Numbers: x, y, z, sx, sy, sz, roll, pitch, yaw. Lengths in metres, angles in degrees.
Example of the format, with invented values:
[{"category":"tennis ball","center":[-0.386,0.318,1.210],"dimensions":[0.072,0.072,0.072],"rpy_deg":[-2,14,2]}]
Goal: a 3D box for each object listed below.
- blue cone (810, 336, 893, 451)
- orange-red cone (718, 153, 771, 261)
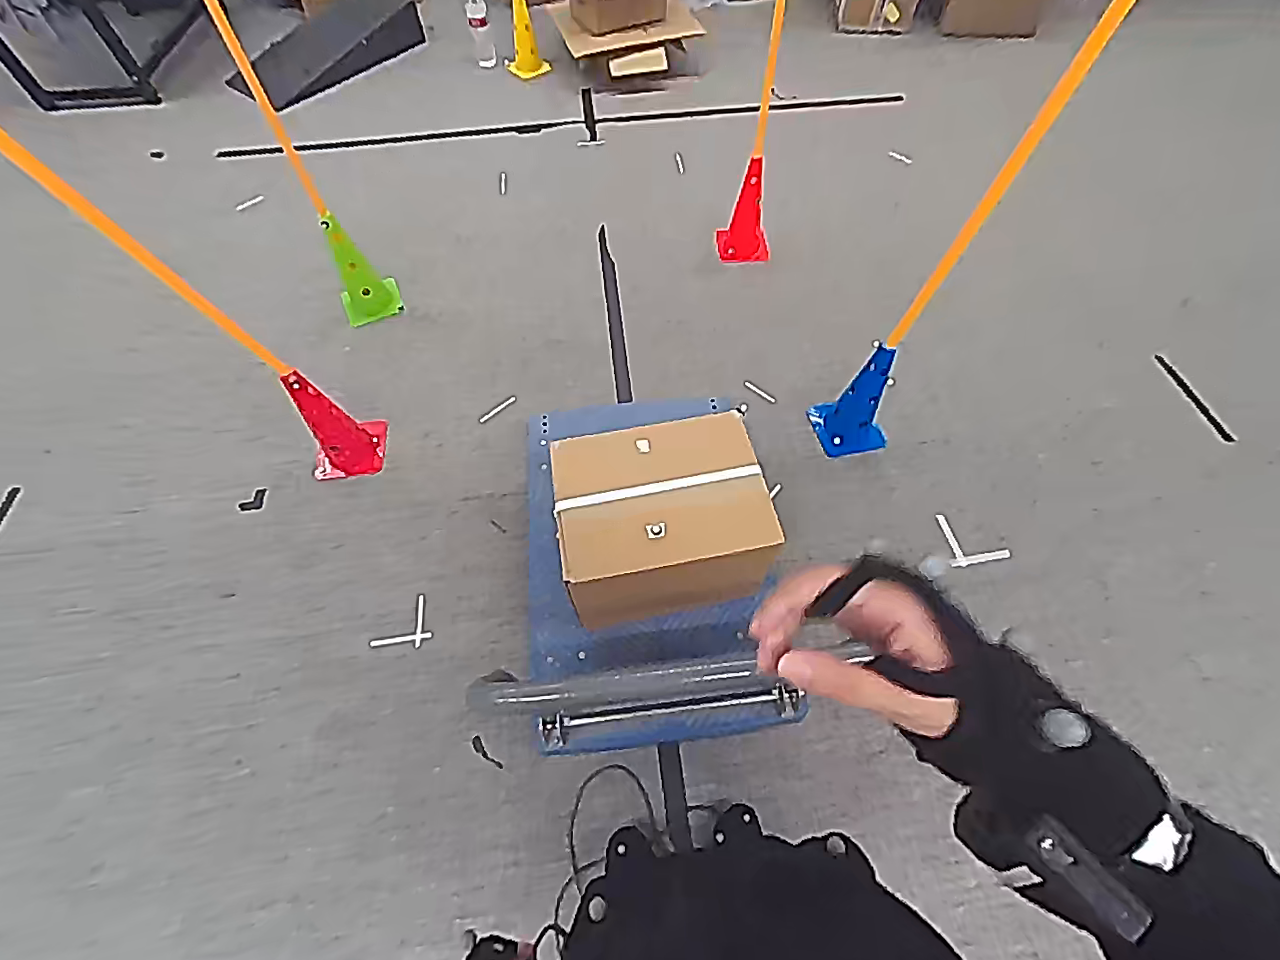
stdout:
[{"category":"blue cone","center":[0.653,-0.260,1.572],"dimensions":[0.193,0.380,0.192],"rpy_deg":[-10,59,-5]},{"category":"orange-red cone","center":[0.414,-1.025,2.007],"dimensions":[0.199,0.360,0.198],"rpy_deg":[0,60,-1]}]
